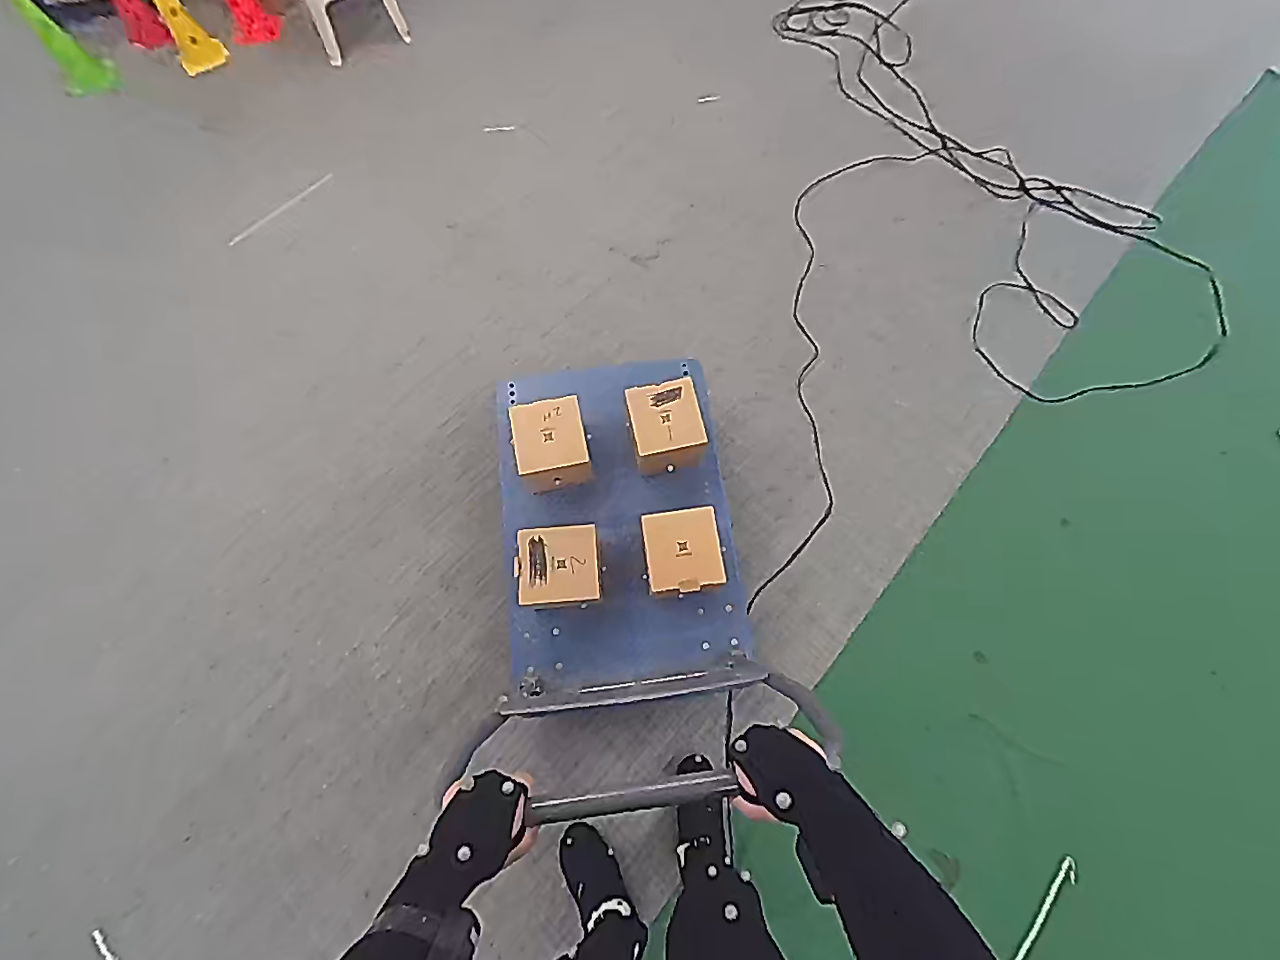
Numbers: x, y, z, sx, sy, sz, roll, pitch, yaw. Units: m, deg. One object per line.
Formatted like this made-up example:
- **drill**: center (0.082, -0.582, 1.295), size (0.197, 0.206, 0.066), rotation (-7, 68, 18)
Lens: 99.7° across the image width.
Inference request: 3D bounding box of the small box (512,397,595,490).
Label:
- **small box**: center (-0.208, -0.082, 1.335), size (0.168, 0.176, 0.179), rotation (-10, 74, -4)

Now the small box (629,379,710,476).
- **small box**: center (0.068, -0.126, 1.349), size (0.168, 0.176, 0.179), rotation (-12, 75, -3)

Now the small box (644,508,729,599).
- **small box**: center (0.100, 0.176, 1.263), size (0.168, 0.176, 0.179), rotation (-7, 75, -2)
